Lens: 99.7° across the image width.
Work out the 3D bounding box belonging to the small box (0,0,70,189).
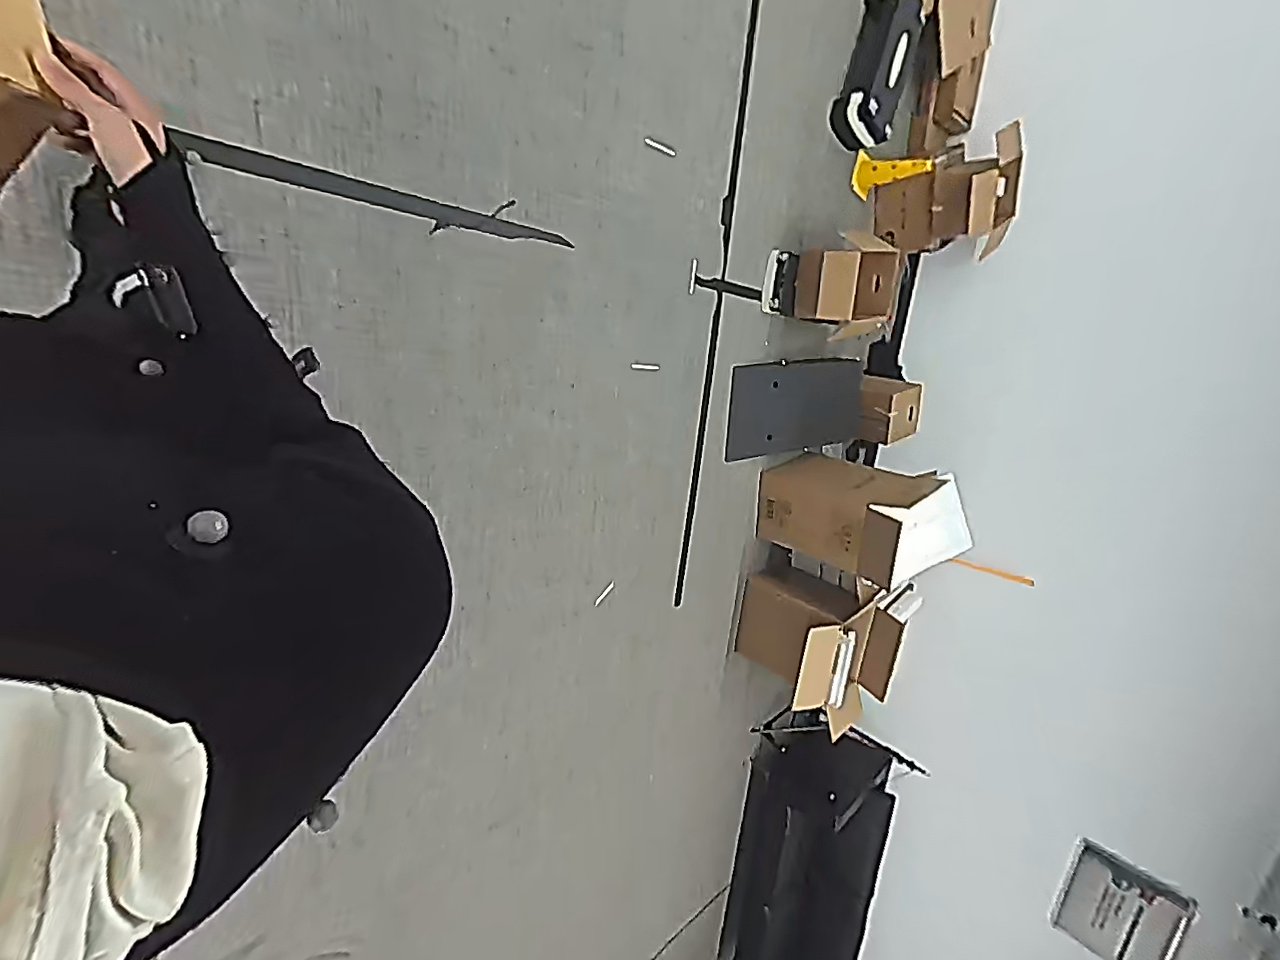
[{"bbox_3d":[-0.572,-0.341,0.384,0.168,0.176,0.179,-11,83,-66],"label":"small box"}]
